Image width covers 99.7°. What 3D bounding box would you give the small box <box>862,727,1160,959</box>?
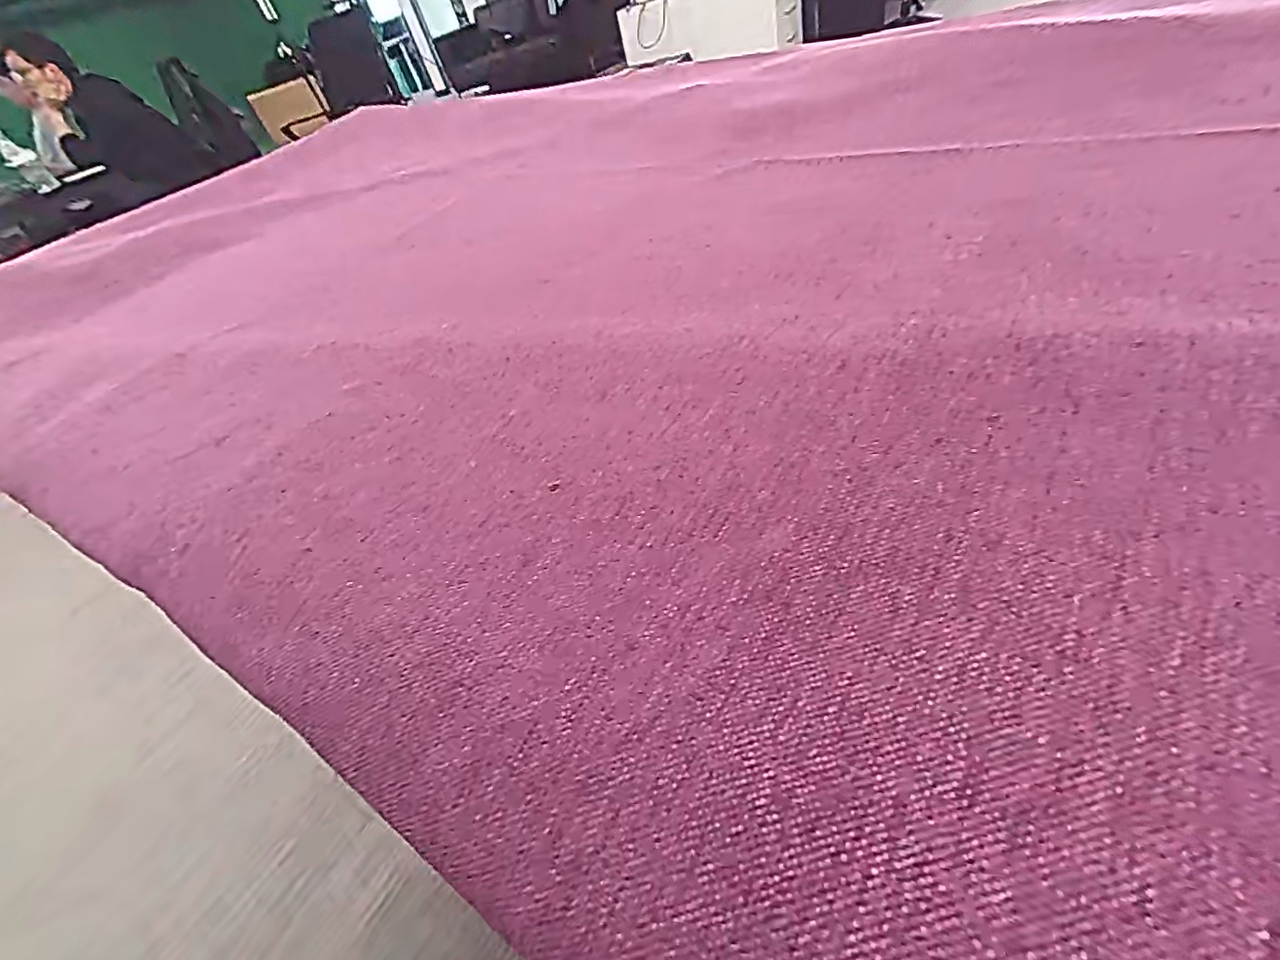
[{"bbox_3d":[0.304,0.359,0.469,0.179,0.176,0.168,15,52,32],"label":"small box"}]
